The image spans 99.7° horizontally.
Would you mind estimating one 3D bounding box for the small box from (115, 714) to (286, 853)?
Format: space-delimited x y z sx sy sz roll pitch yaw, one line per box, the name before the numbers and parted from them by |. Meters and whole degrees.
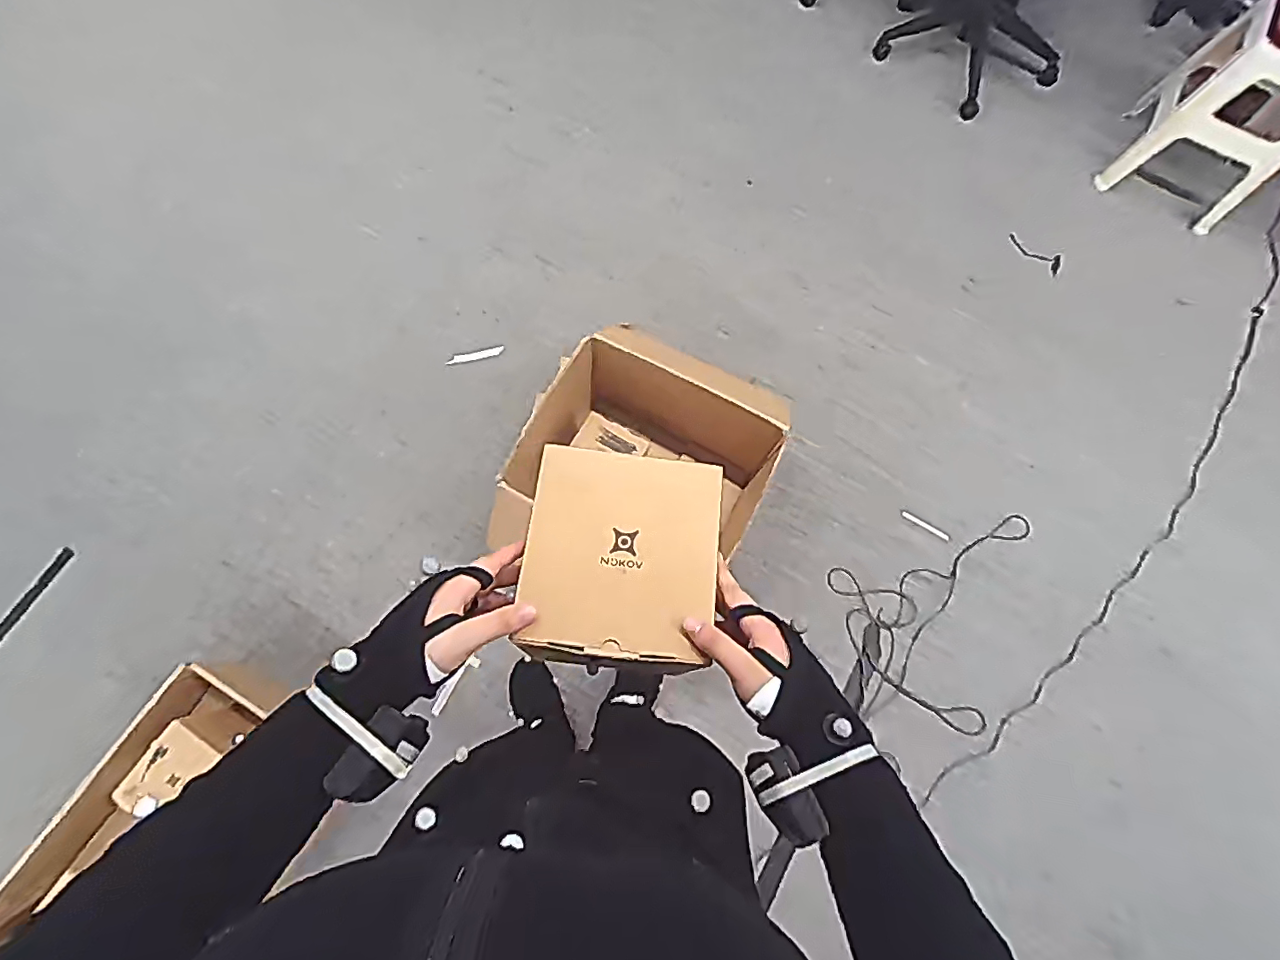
small box | -0.888 0.609 1.116 0.179 0.176 0.168 33 76 4
